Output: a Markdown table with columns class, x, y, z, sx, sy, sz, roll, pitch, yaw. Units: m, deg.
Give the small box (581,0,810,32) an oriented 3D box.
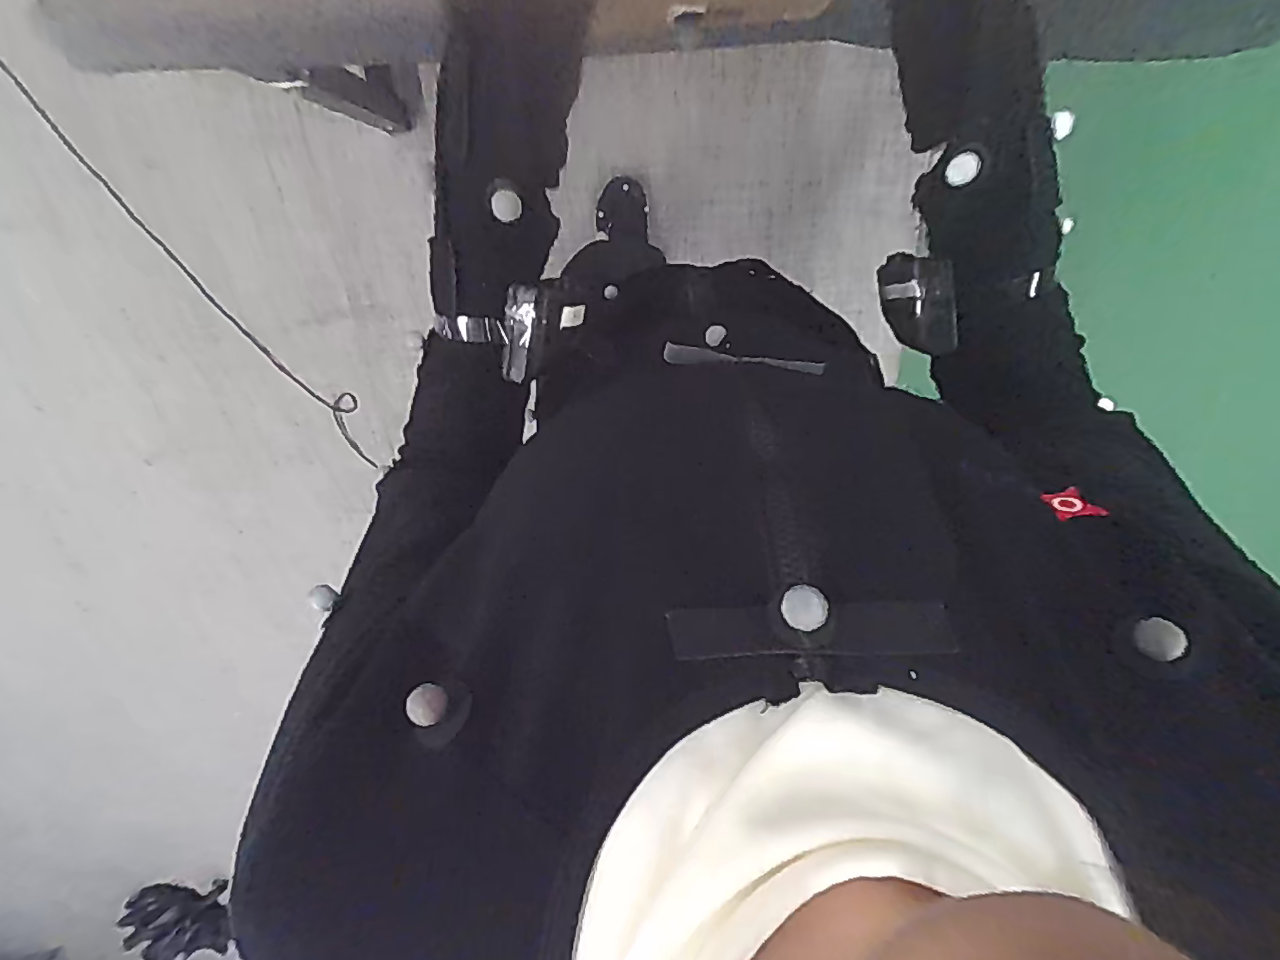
| class | x | y | z | sx | sy | sz | roll | pitch | yaw |
| --- | --- | --- | --- | --- | --- | --- | --- | --- | --- |
| small box | 0.035 | -0.364 | 0.269 | 0.168 | 0.176 | 0.179 | -5 | 117 | 0 |
